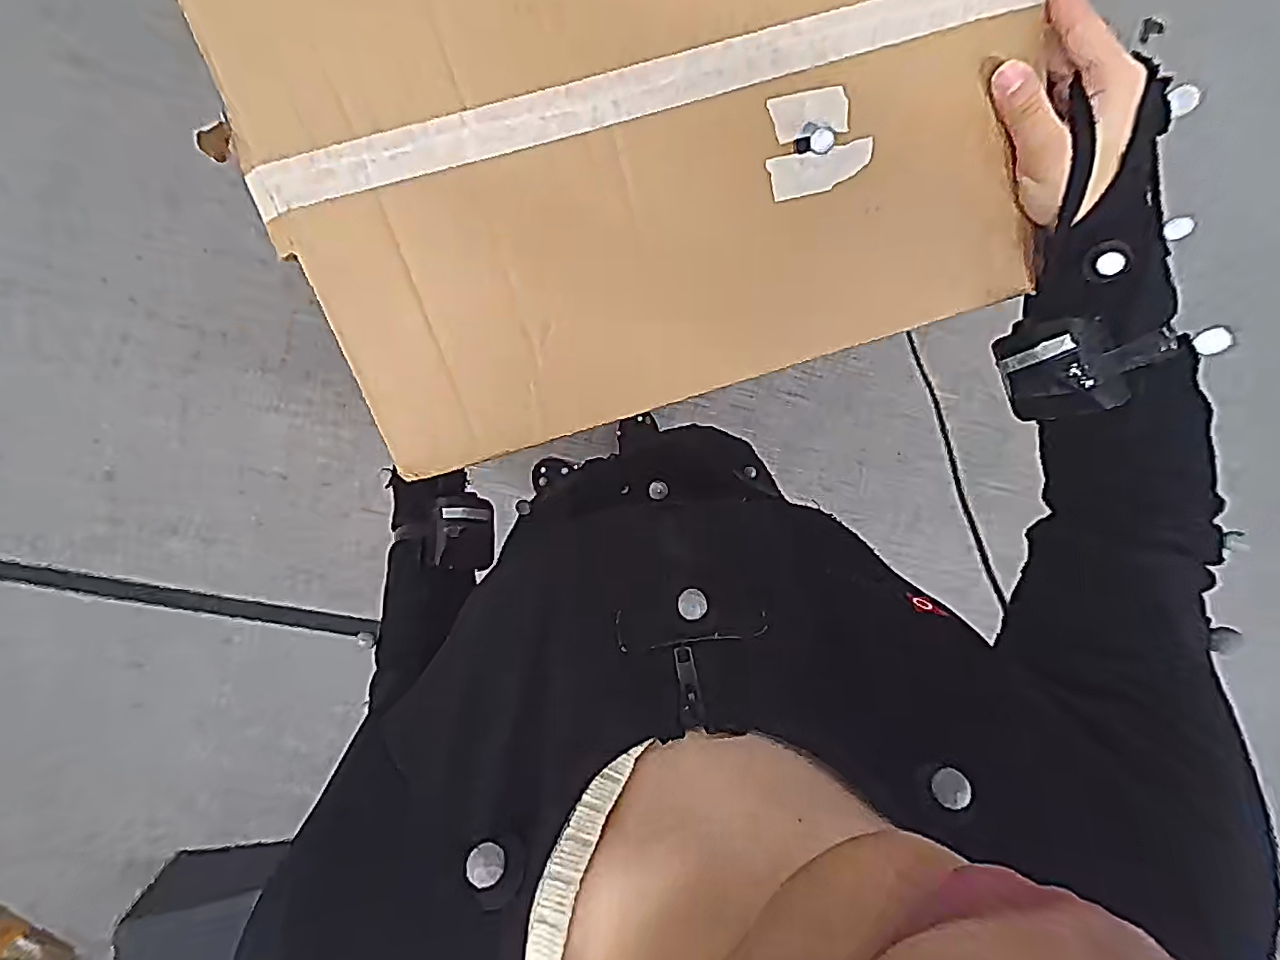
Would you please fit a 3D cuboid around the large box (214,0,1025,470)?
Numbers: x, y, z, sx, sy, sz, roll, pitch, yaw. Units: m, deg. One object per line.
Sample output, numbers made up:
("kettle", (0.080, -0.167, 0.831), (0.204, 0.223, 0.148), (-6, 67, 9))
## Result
("large box", (-0.008, -0.246, 0.422), (0.408, 0.320, 0.320), (-18, 111, -5))
